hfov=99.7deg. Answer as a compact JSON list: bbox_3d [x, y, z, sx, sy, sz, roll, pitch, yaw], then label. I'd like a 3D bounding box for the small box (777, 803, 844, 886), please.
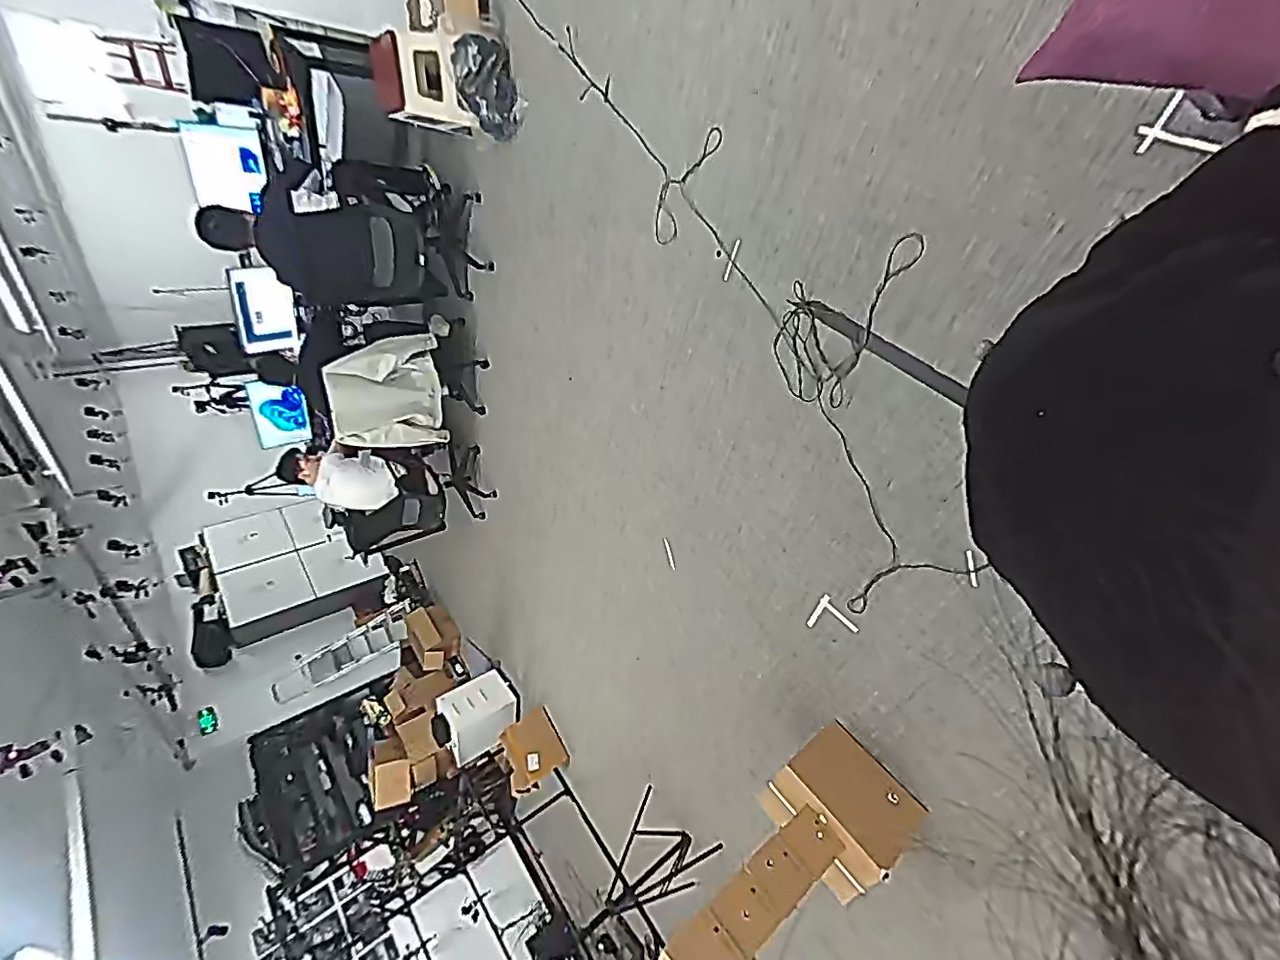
[{"bbox_3d":[0.542,1.222,1.793,0.168,0.176,0.179,42,134,32],"label":"small box"}]

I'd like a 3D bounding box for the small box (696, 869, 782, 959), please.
[{"bbox_3d":[0.294,1.306,1.597,0.168,0.176,0.179,39,132,37],"label":"small box"}]

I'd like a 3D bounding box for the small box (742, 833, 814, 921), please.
[{"bbox_3d":[0.417,1.257,1.695,0.168,0.176,0.179,42,136,34],"label":"small box"}]
